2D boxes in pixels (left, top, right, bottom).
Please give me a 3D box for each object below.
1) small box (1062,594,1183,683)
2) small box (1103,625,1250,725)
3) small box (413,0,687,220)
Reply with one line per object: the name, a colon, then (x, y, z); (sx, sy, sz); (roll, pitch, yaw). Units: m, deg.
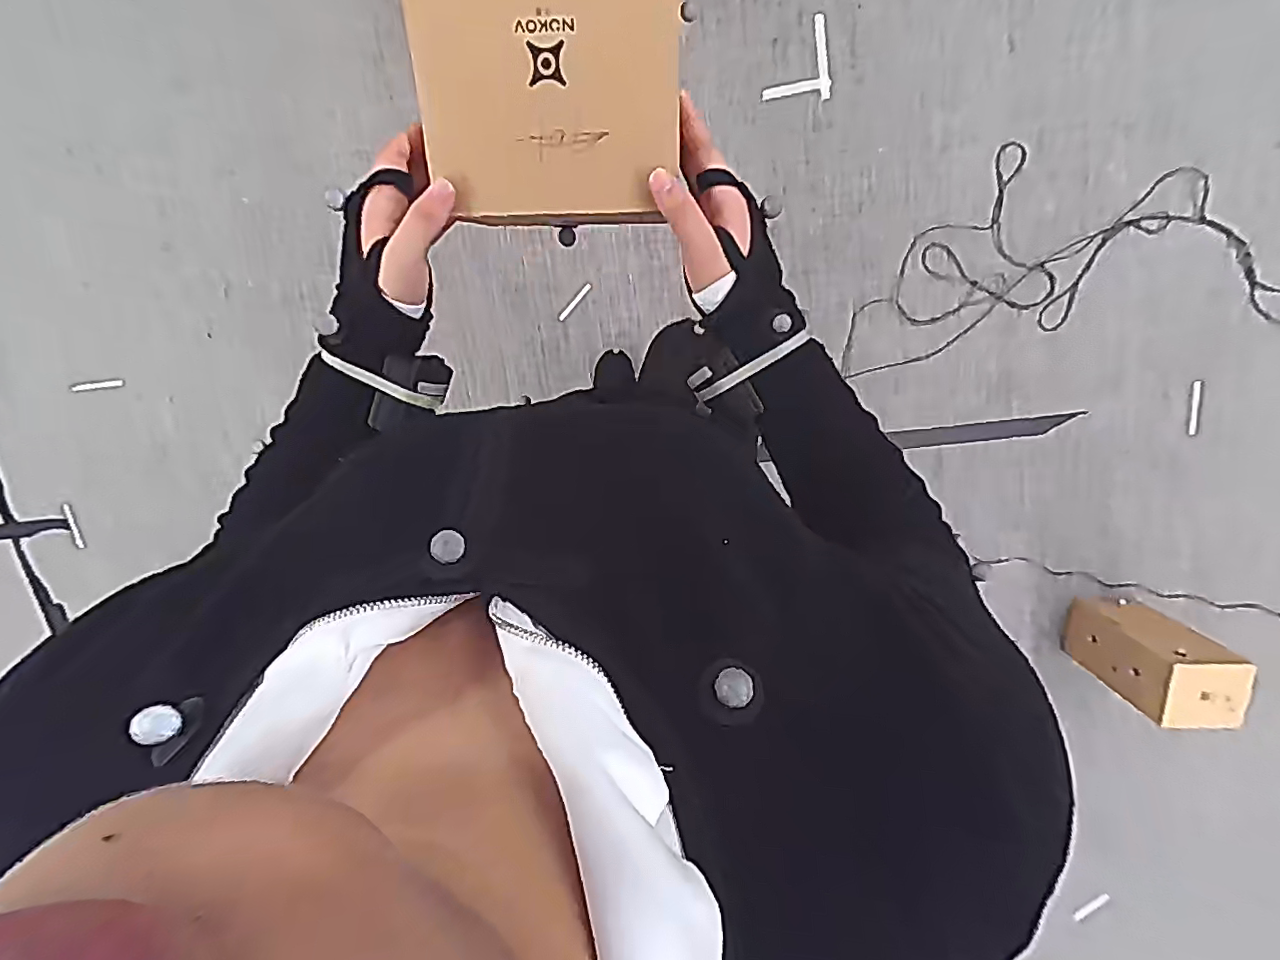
small box: (1.286, 0.426, 1.454); (0.168, 0.176, 0.179); (1, 103, 2)
small box: (1.268, 0.460, 1.293); (0.179, 0.176, 0.168); (-2, 104, 3)
small box: (-0.053, -0.297, 0.402); (0.168, 0.176, 0.179); (-1, 113, 1)
